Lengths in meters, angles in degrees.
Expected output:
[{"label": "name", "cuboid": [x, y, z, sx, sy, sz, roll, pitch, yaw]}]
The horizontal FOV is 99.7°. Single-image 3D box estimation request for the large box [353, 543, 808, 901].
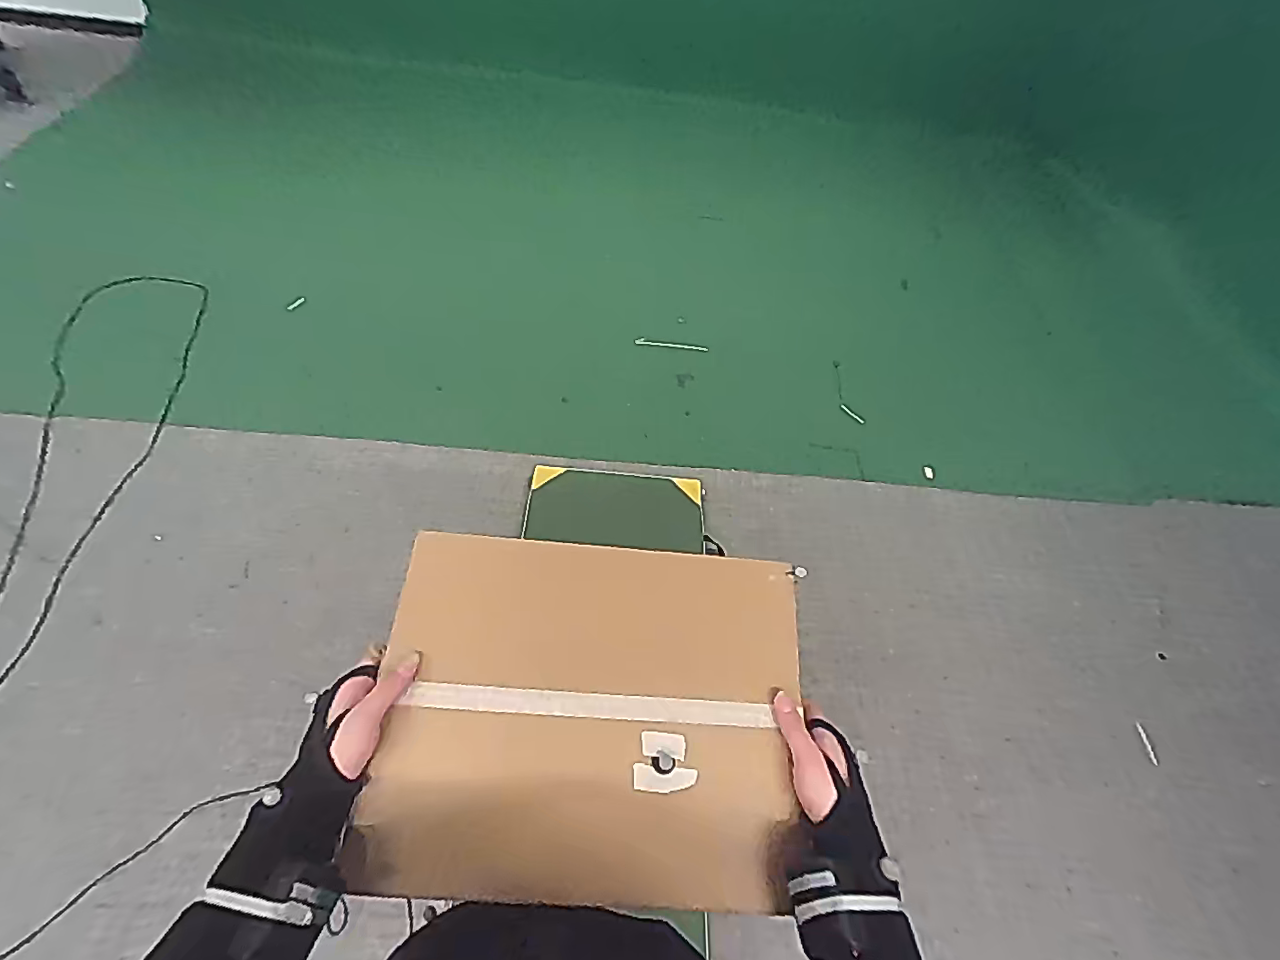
[{"label": "large box", "cuboid": [-0.057, 0.284, 0.663, 0.408, 0.320, 0.320, 5, 65, -4]}]
